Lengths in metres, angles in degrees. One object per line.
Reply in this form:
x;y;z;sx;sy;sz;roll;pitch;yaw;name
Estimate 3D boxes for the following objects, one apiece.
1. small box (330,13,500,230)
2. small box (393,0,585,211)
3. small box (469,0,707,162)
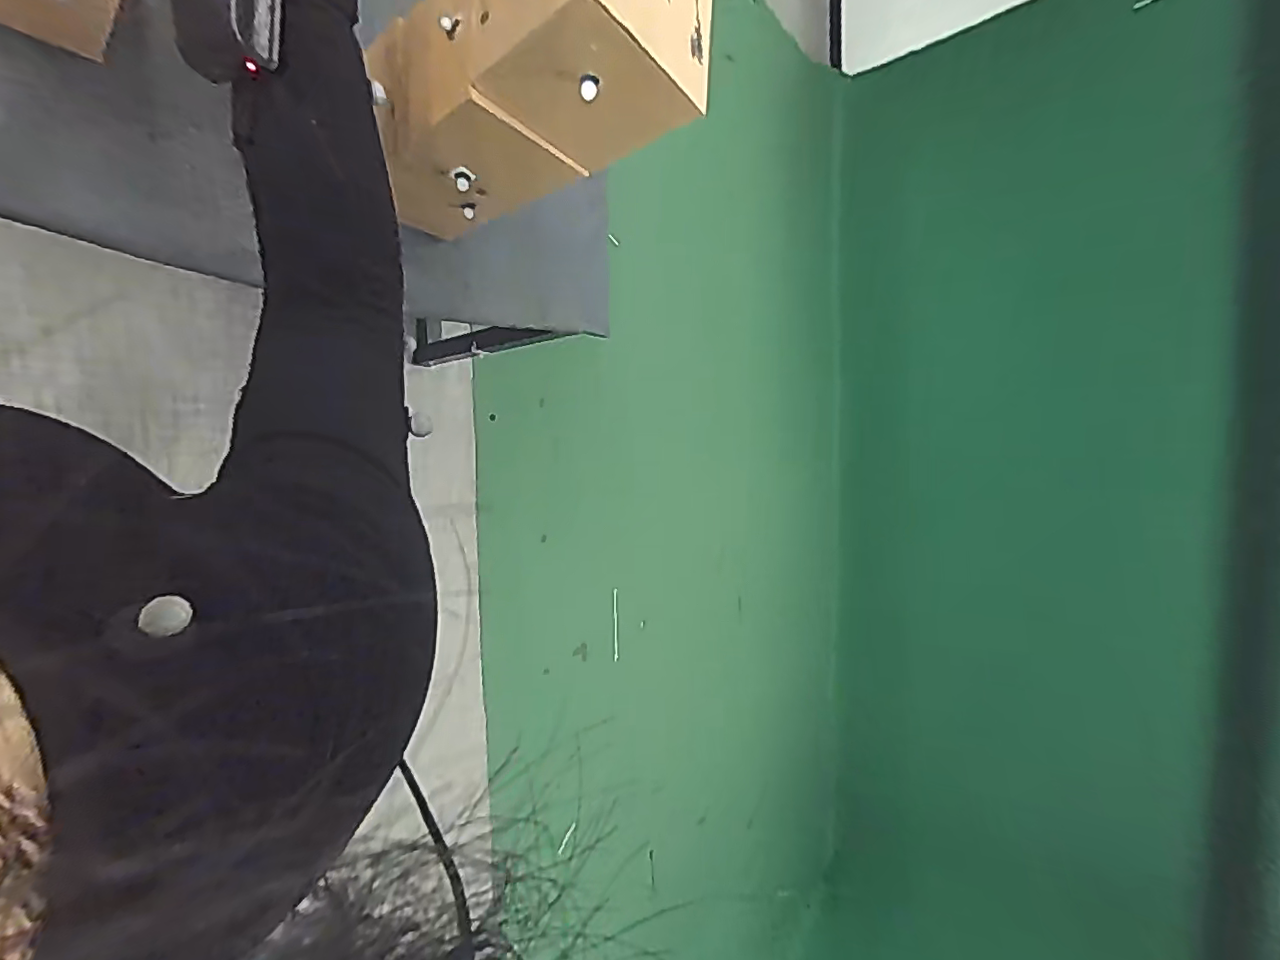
-0.301;-0.471;0.751;0.179;0.176;0.168;3;88;-51;small box
-0.177;-0.460;0.648;0.168;0.176;0.179;5;88;-49;small box
-0.051;-0.461;0.543;0.179;0.176;0.168;8;85;-49;small box
